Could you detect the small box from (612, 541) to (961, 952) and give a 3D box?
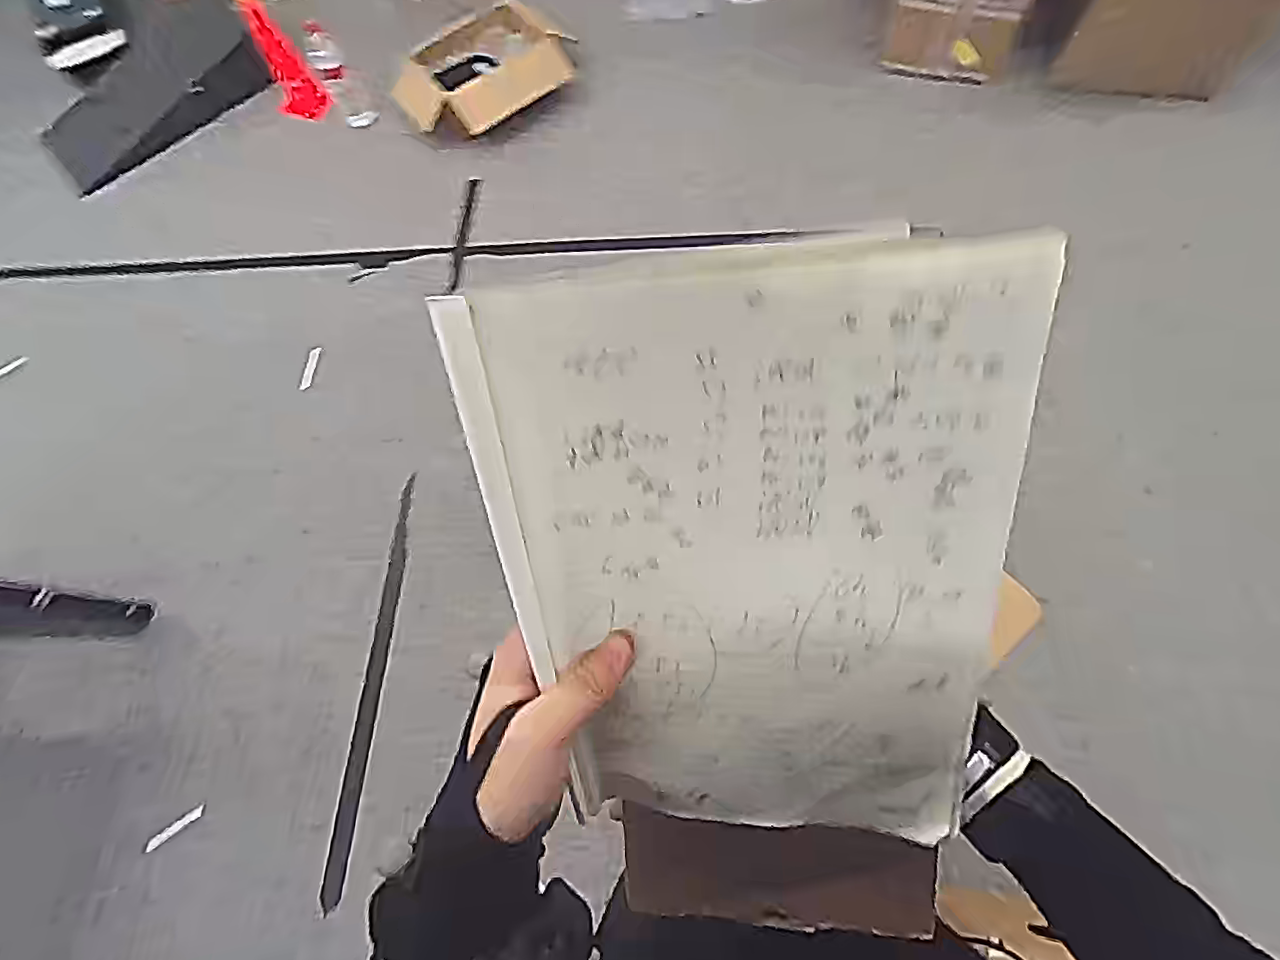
[{"bbox_3d":[0.079,0.144,0.349,0.168,0.176,0.179,-1,103,8],"label":"small box"}]

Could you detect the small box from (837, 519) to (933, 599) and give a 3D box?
[{"bbox_3d":[0.546,0.220,1.290,0.168,0.176,0.179,-28,72,-7],"label":"small box"}]
